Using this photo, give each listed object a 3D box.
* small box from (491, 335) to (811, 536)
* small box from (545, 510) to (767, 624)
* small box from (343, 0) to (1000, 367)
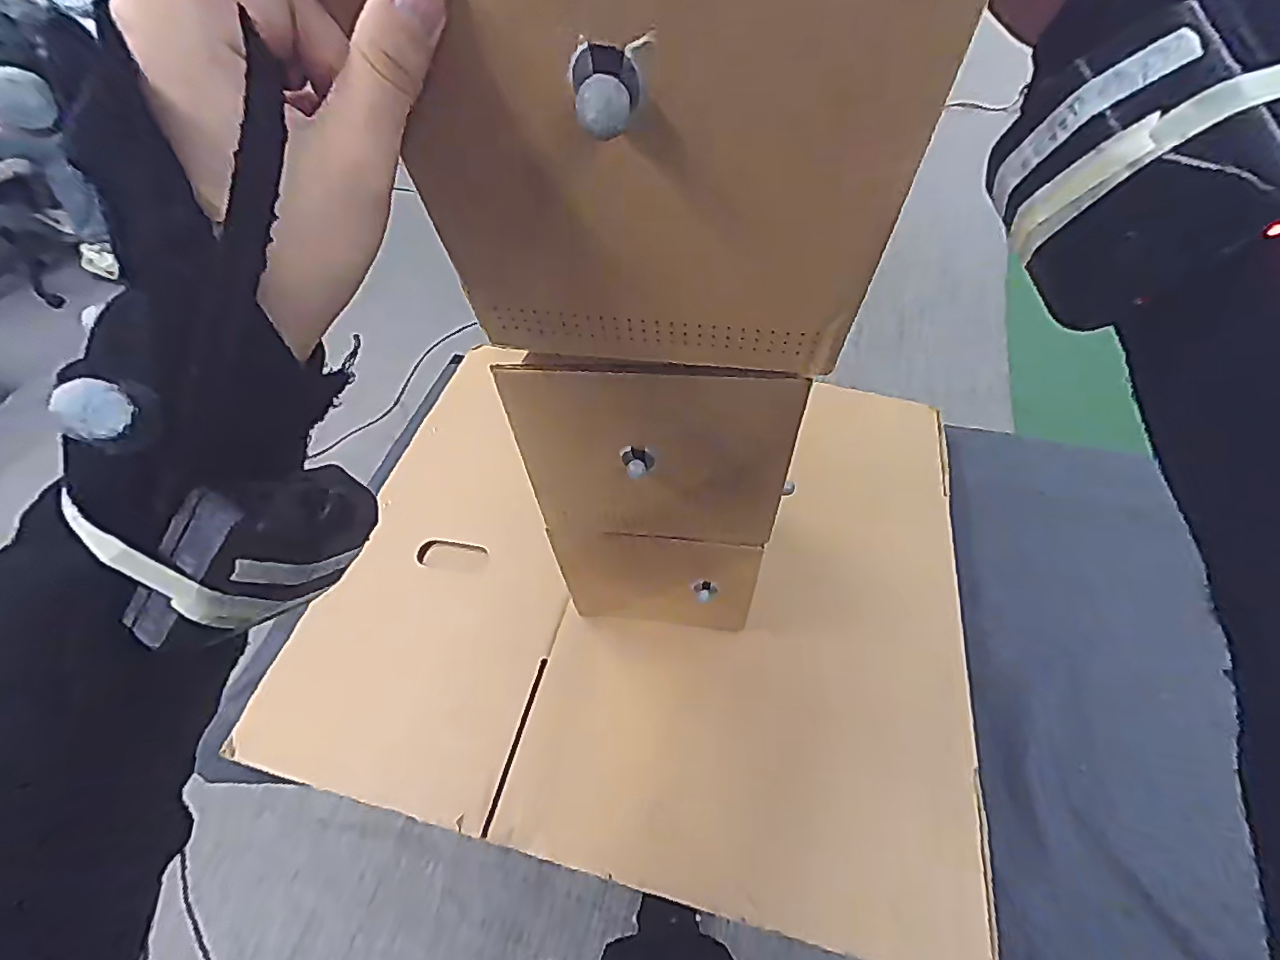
[{"bbox_3d":[0.016,-0.072,0.400,0.179,0.176,0.168,3,53,7],"label":"small box"},{"bbox_3d":[0.025,0.030,0.530,0.179,0.176,0.168,3,53,7],"label":"small box"},{"bbox_3d":[0.018,-0.167,0.233,0.179,0.176,0.168,6,65,8],"label":"small box"}]
